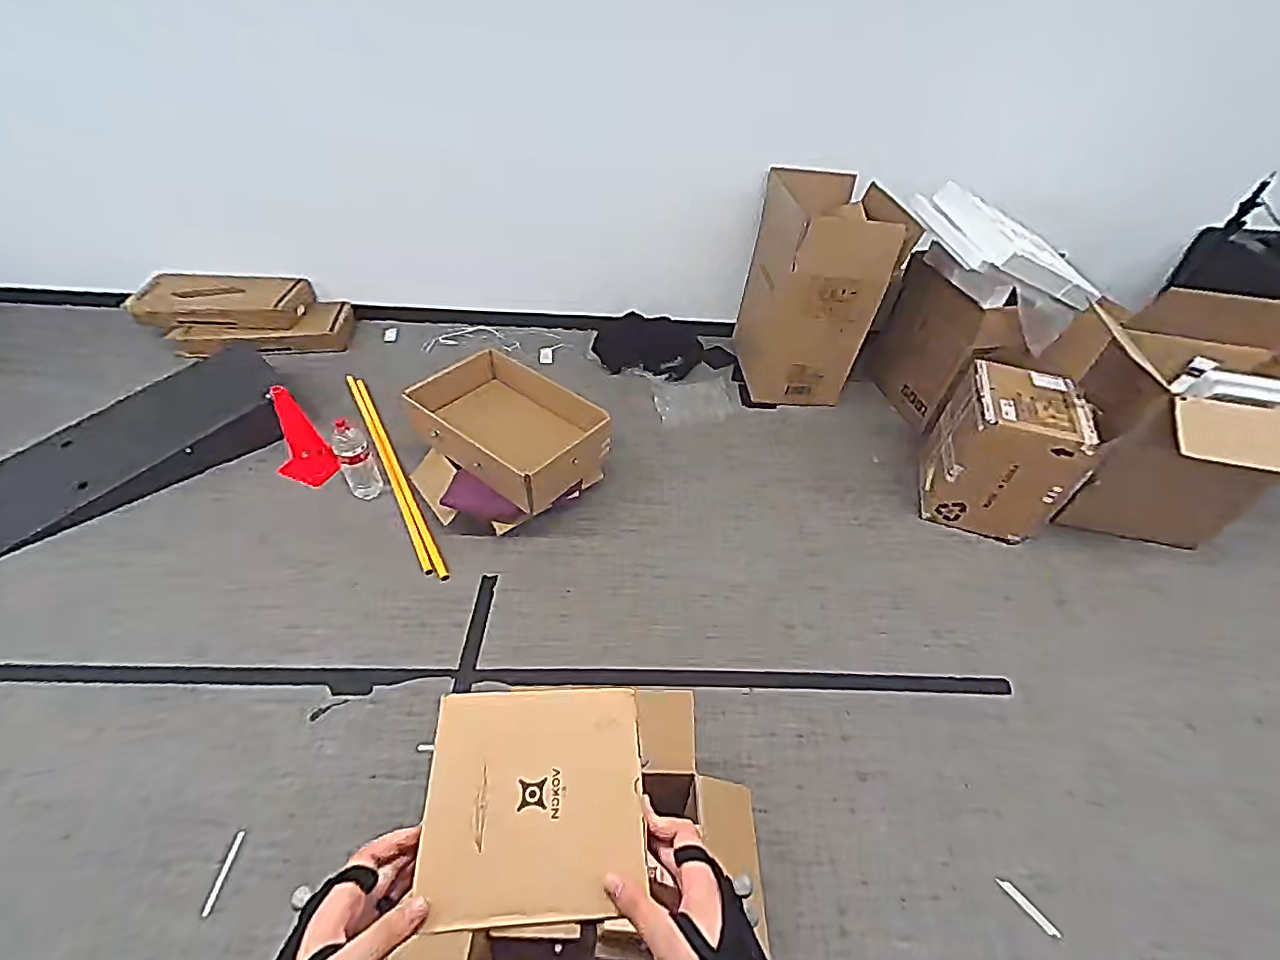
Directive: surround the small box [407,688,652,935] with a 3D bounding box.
[{"bbox_3d":[-0.091,0.304,0.499,0.179,0.176,0.168,-1,50,-7],"label":"small box"}]
